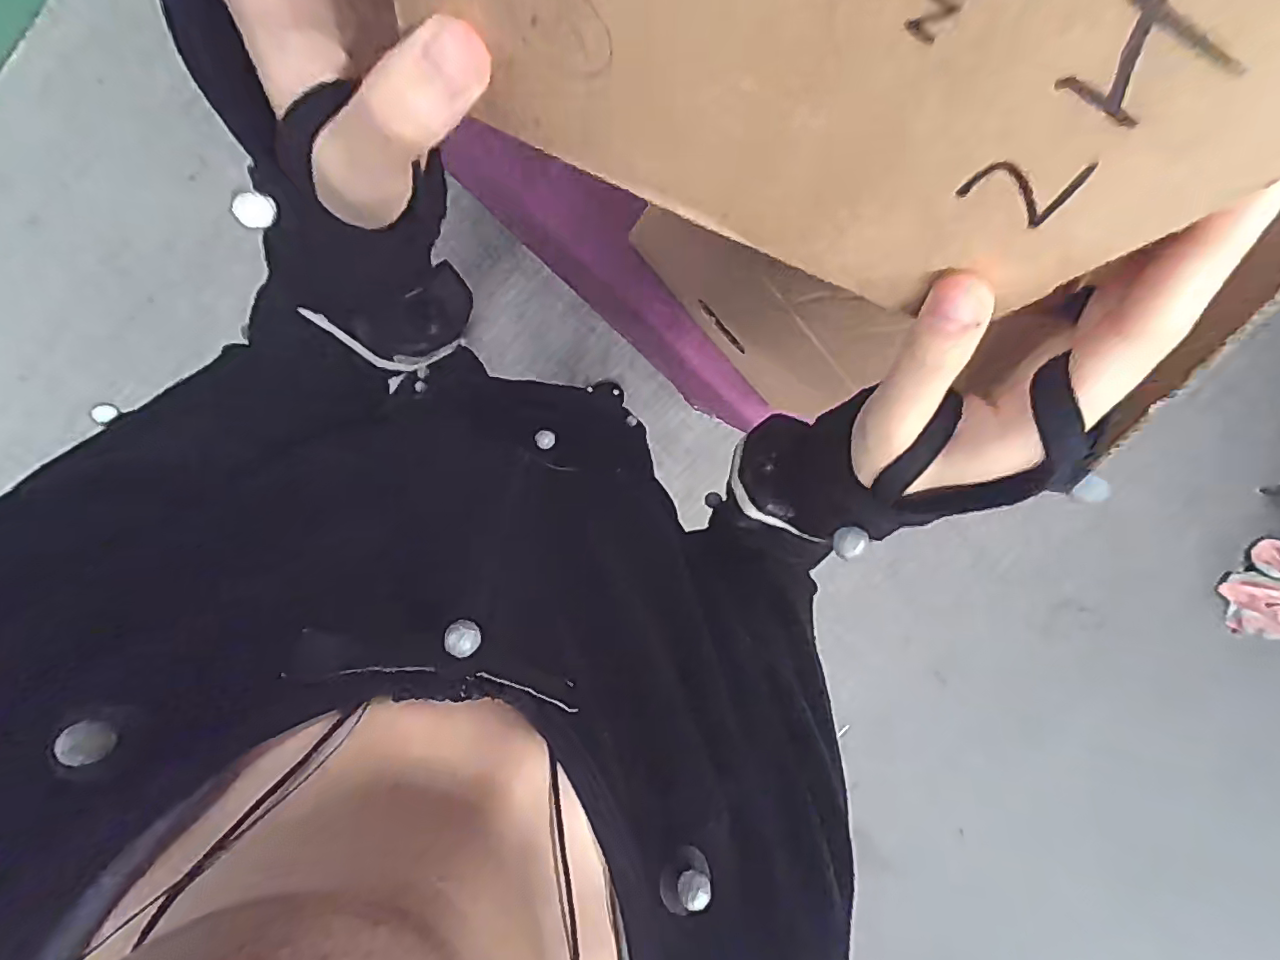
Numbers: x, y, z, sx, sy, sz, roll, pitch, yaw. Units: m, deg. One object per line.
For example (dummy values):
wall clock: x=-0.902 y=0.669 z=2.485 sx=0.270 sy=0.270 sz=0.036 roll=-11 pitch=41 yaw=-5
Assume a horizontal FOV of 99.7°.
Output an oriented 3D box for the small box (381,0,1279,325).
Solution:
small box: x=0.061 y=-0.163 z=0.096 sx=0.179 sy=0.168 sz=0.176 roll=18 pitch=79 yaw=-12
